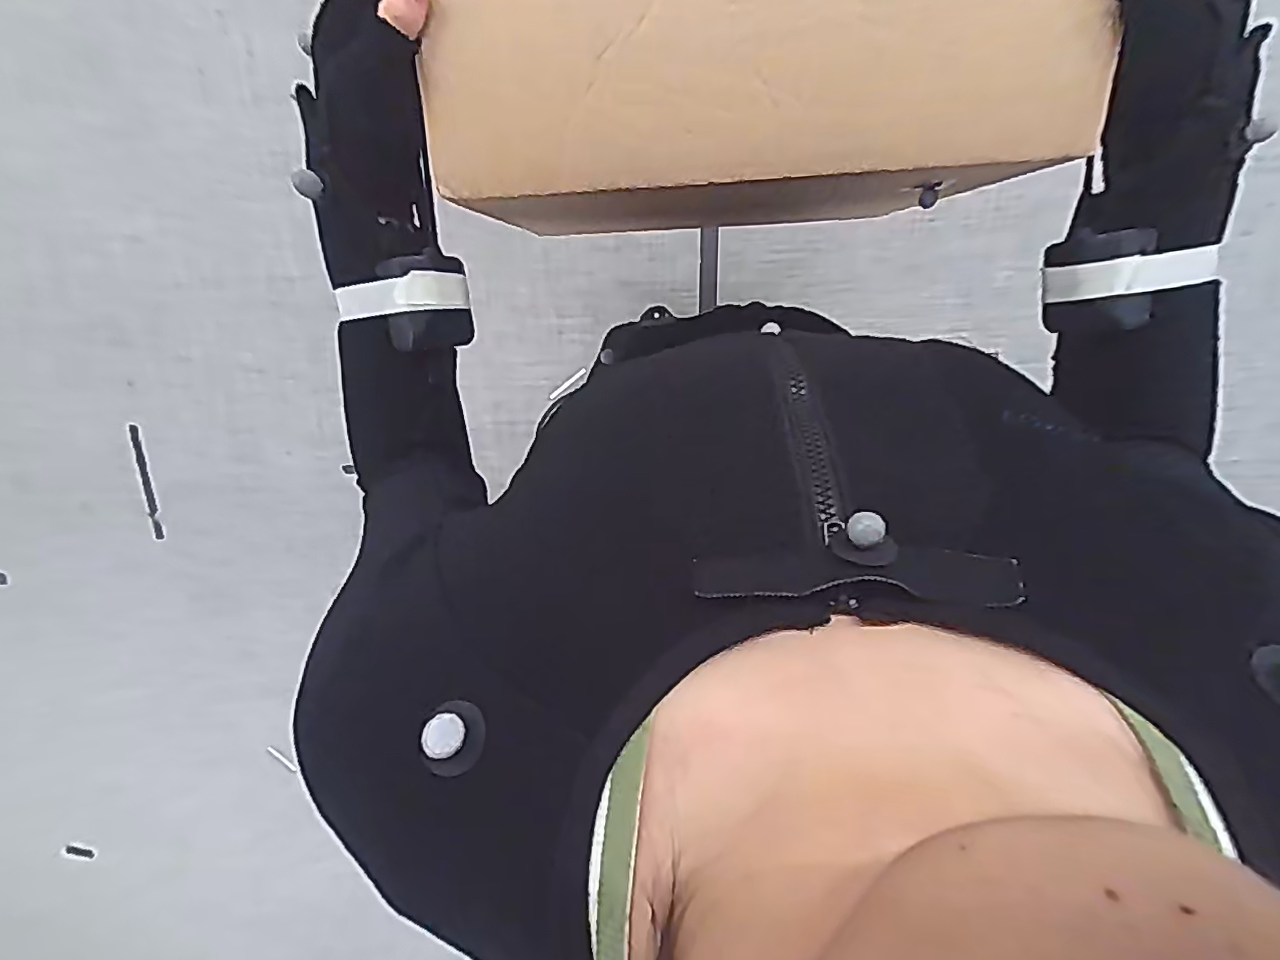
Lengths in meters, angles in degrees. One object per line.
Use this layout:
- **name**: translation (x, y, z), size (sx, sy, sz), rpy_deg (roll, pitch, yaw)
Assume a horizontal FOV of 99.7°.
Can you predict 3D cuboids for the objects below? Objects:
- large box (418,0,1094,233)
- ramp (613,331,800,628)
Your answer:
- **large box**: translation (0.067, -0.389, 0.437), size (0.408, 0.320, 0.320), rpy_deg (-3, 110, 2)
- **ramp**: translation (0.189, 0.062, 1.629), size (0.509, 0.206, 0.991), rpy_deg (-2, 107, 3)
